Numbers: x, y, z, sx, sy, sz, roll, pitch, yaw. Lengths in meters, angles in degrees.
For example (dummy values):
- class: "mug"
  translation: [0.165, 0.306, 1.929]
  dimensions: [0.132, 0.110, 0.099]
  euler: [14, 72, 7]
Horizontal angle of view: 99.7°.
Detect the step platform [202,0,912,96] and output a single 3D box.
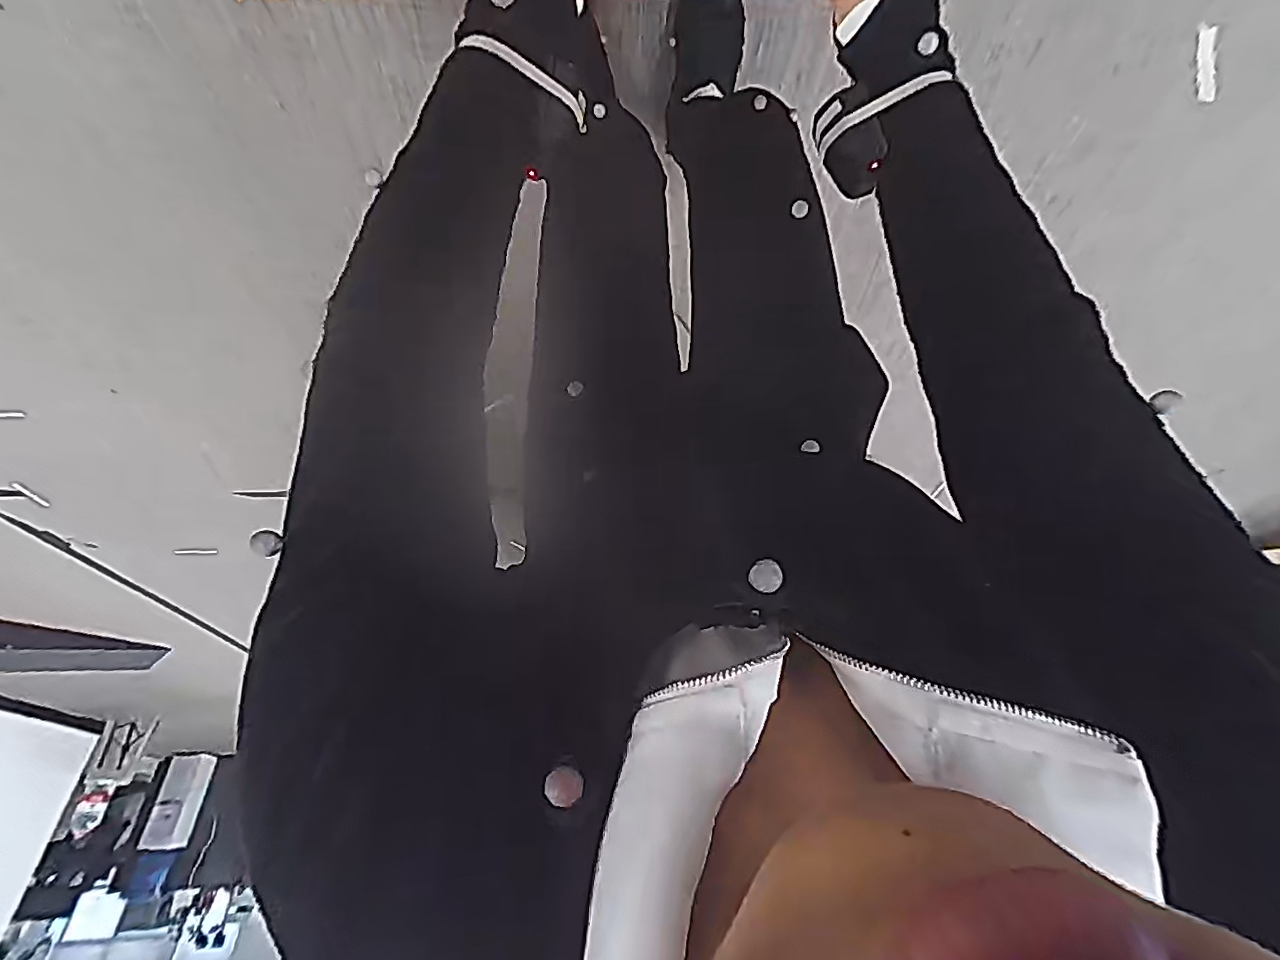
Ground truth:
- class: "step platform"
  translation: [-0.076, -0.568, 0.516]
  dimensions: [0.684, 0.204, 0.286]
  euler: [-2, 144, -3]
